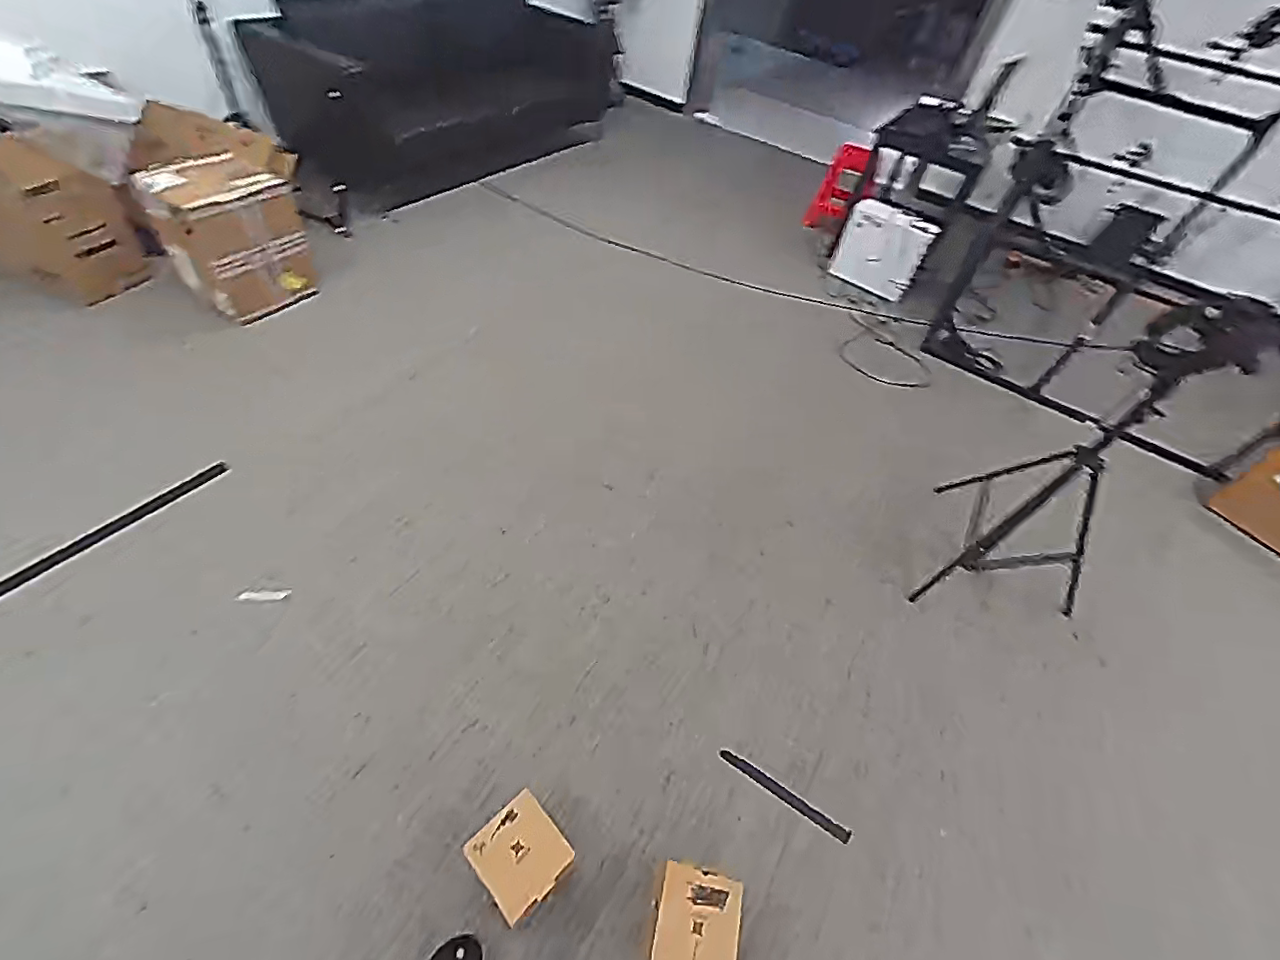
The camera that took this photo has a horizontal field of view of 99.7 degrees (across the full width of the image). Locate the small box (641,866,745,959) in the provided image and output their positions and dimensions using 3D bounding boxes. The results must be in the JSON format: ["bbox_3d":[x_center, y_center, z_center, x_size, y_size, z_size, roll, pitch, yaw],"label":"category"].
[{"bbox_3d":[0.107,0.934,1.116,0.168,0.176,0.179,16,48,4],"label":"small box"}]

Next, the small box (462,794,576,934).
[{"bbox_3d":[-0.255,0.818,1.155,0.168,0.176,0.179,-32,61,-33],"label":"small box"}]
